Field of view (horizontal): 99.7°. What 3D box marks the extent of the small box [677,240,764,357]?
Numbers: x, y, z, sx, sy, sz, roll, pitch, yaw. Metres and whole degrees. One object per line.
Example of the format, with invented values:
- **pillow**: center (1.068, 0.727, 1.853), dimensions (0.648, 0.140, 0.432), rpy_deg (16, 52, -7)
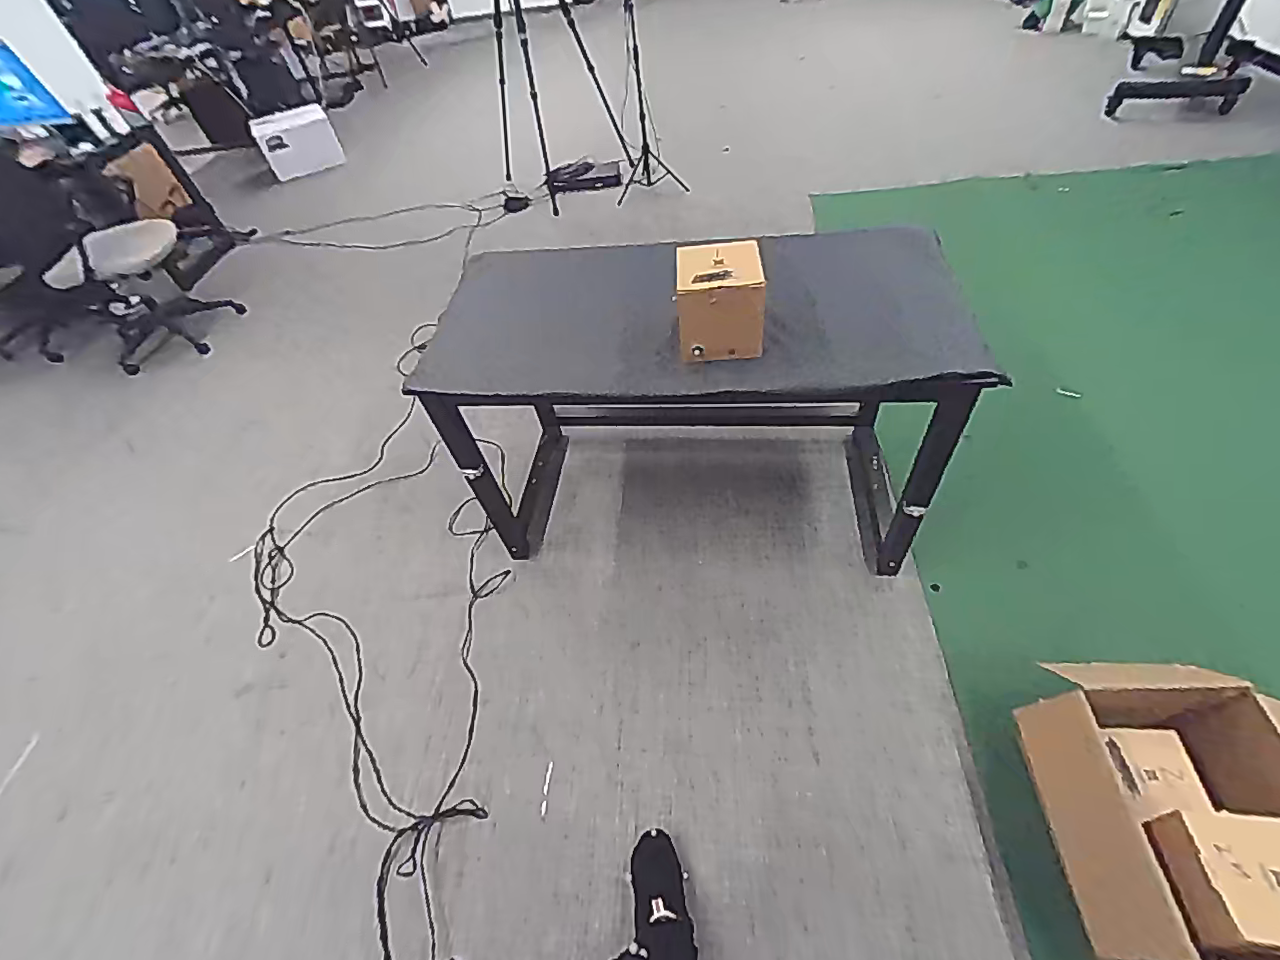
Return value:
- **small box**: center (0.166, -0.369, 1.118), dimensions (0.168, 0.176, 0.179), rpy_deg (-2, 49, 7)
